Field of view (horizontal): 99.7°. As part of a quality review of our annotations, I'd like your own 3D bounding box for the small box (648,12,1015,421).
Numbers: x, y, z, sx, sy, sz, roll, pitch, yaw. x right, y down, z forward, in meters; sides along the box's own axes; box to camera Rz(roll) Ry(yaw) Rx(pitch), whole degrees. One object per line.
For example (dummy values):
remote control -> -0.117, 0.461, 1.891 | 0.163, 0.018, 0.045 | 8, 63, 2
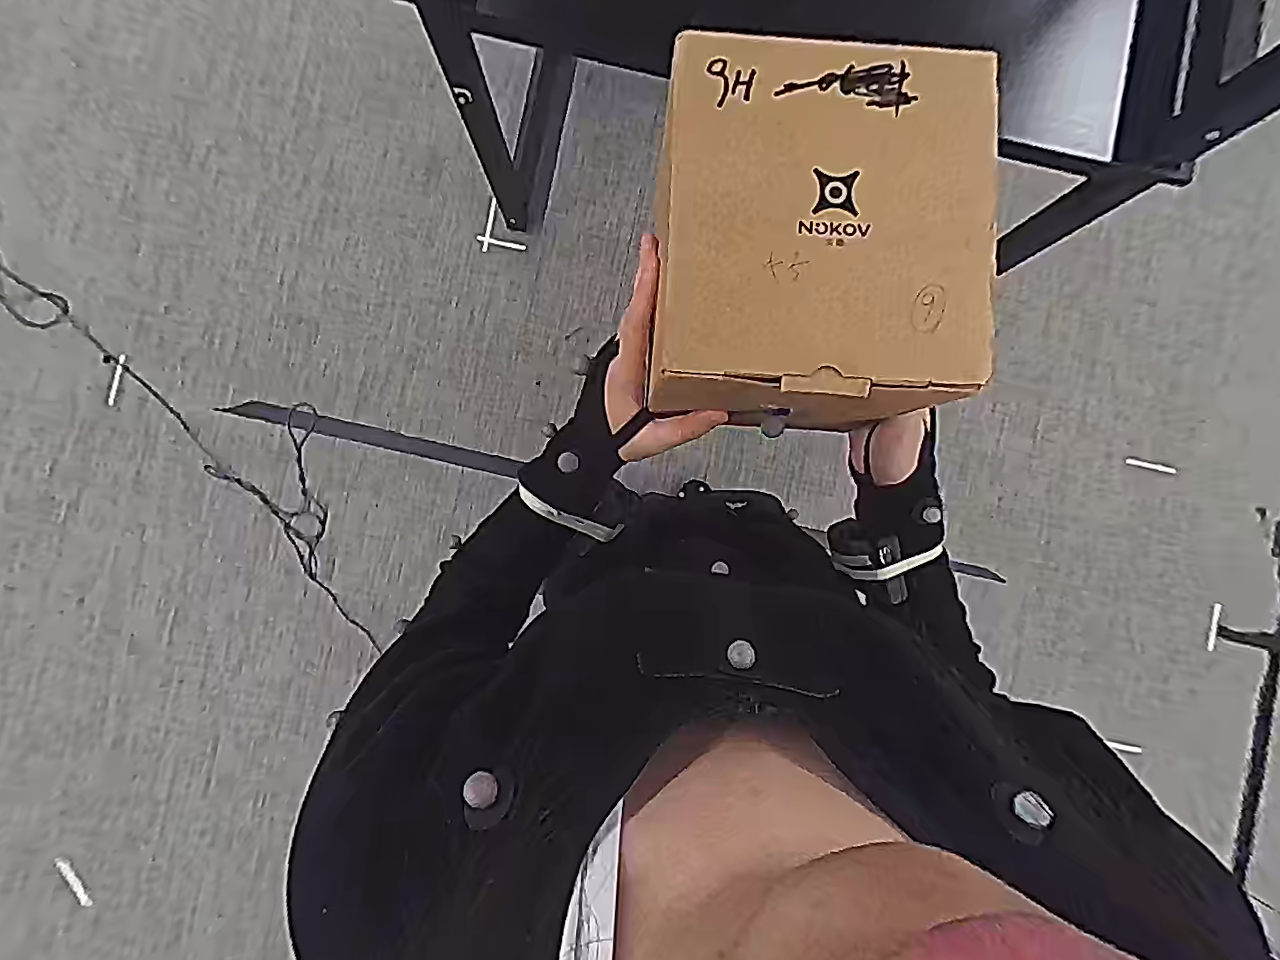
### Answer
small box -> 0.094, -0.133, 0.341 | 0.168, 0.176, 0.179 | 2, 89, -3
